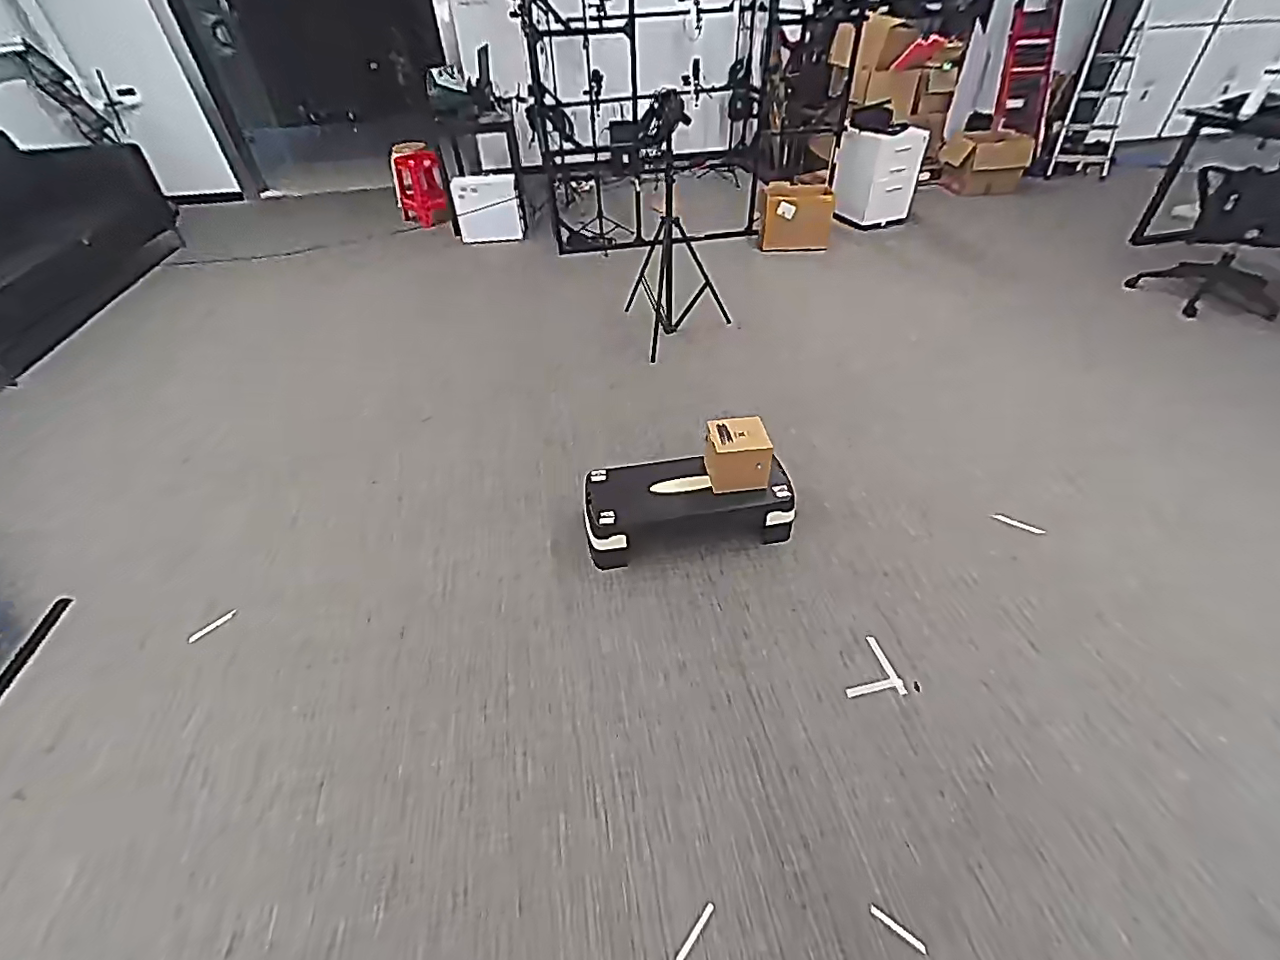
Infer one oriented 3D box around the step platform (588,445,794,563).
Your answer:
[{"bbox_3d":[0.166,0.070,1.840,0.684,0.204,0.286,-9,42,-6],"label":"step platform"}]
